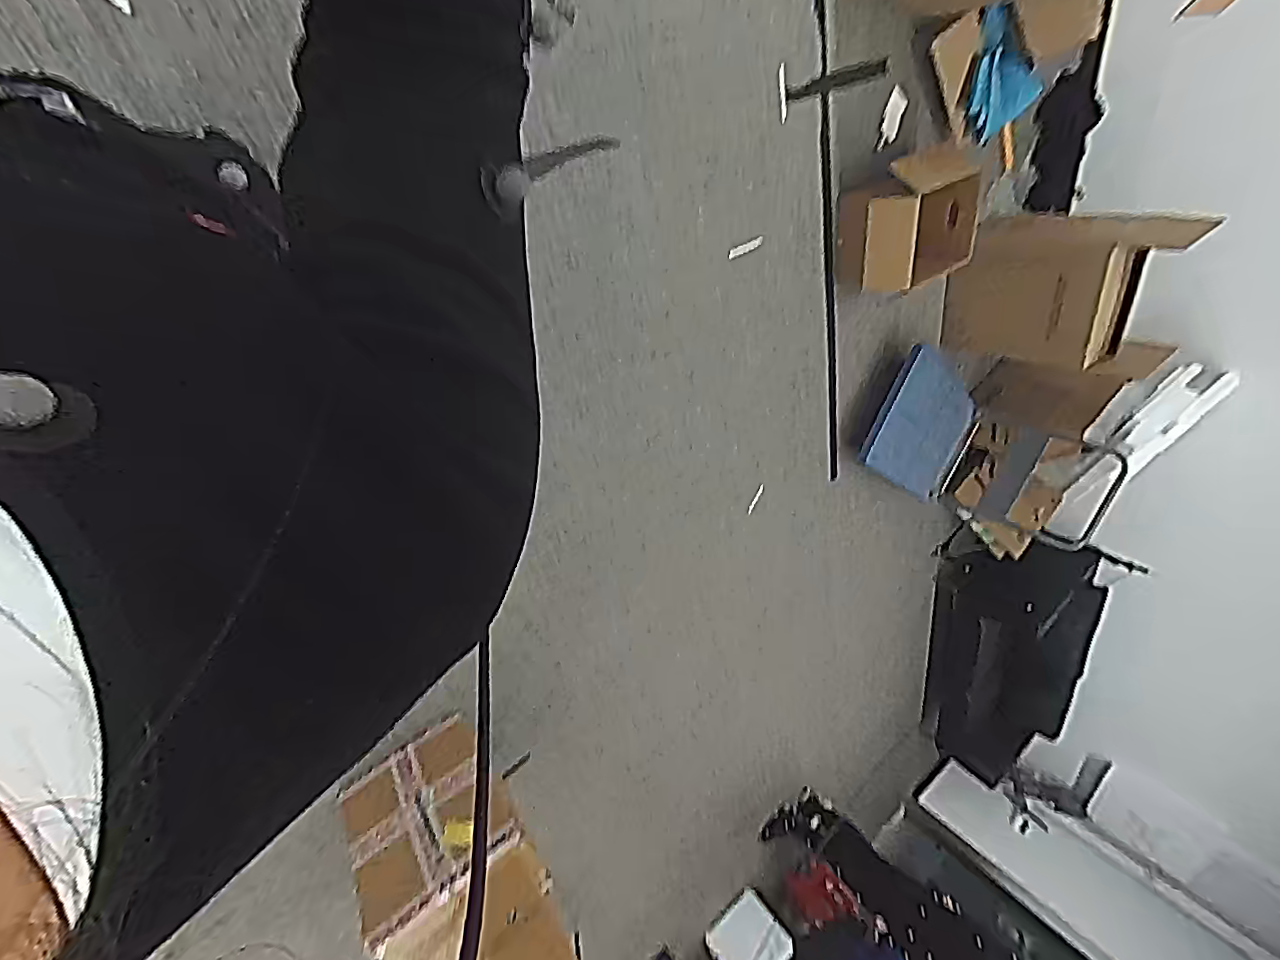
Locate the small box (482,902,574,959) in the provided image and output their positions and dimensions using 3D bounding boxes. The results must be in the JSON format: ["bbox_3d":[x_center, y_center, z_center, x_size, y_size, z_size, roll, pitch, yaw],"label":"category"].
[{"bbox_3d":[-0.248,1.142,1.245,0.179,0.176,0.168,-26,122,-29],"label":"small box"}]

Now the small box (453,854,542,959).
[{"bbox_3d":[-0.344,1.107,1.373,0.179,0.176,0.168,-30,124,-25],"label":"small box"}]
